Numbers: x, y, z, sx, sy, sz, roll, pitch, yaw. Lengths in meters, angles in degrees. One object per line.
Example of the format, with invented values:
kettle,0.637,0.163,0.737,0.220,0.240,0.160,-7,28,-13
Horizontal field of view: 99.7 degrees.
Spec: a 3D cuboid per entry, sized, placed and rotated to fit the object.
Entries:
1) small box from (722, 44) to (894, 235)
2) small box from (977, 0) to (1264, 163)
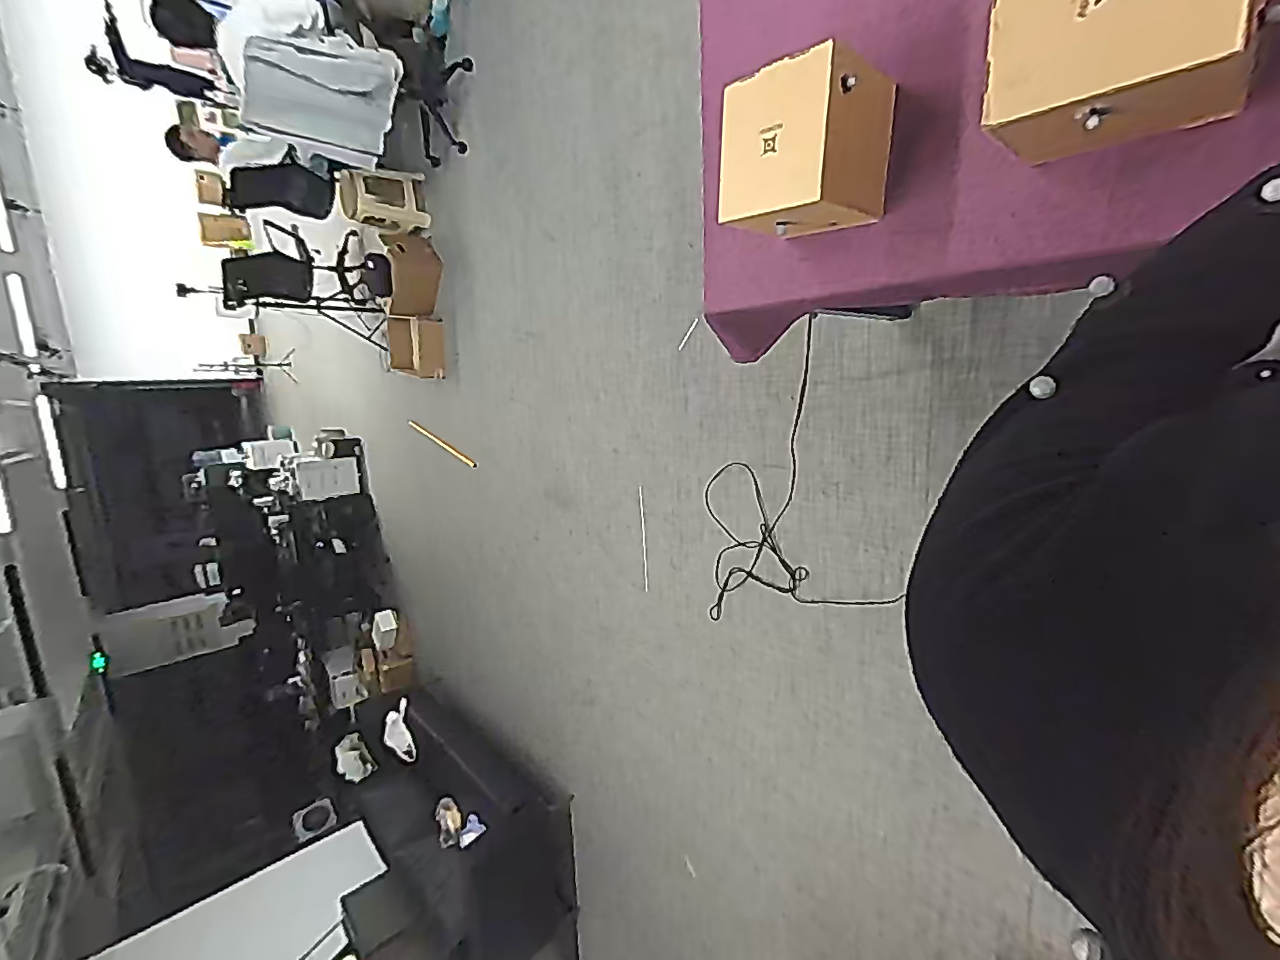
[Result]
small box,0.235,-0.455,0.762,0.168,0.176,0.179,15,108,47
small box,0.454,-0.425,0.511,0.179,0.176,0.168,13,108,47
